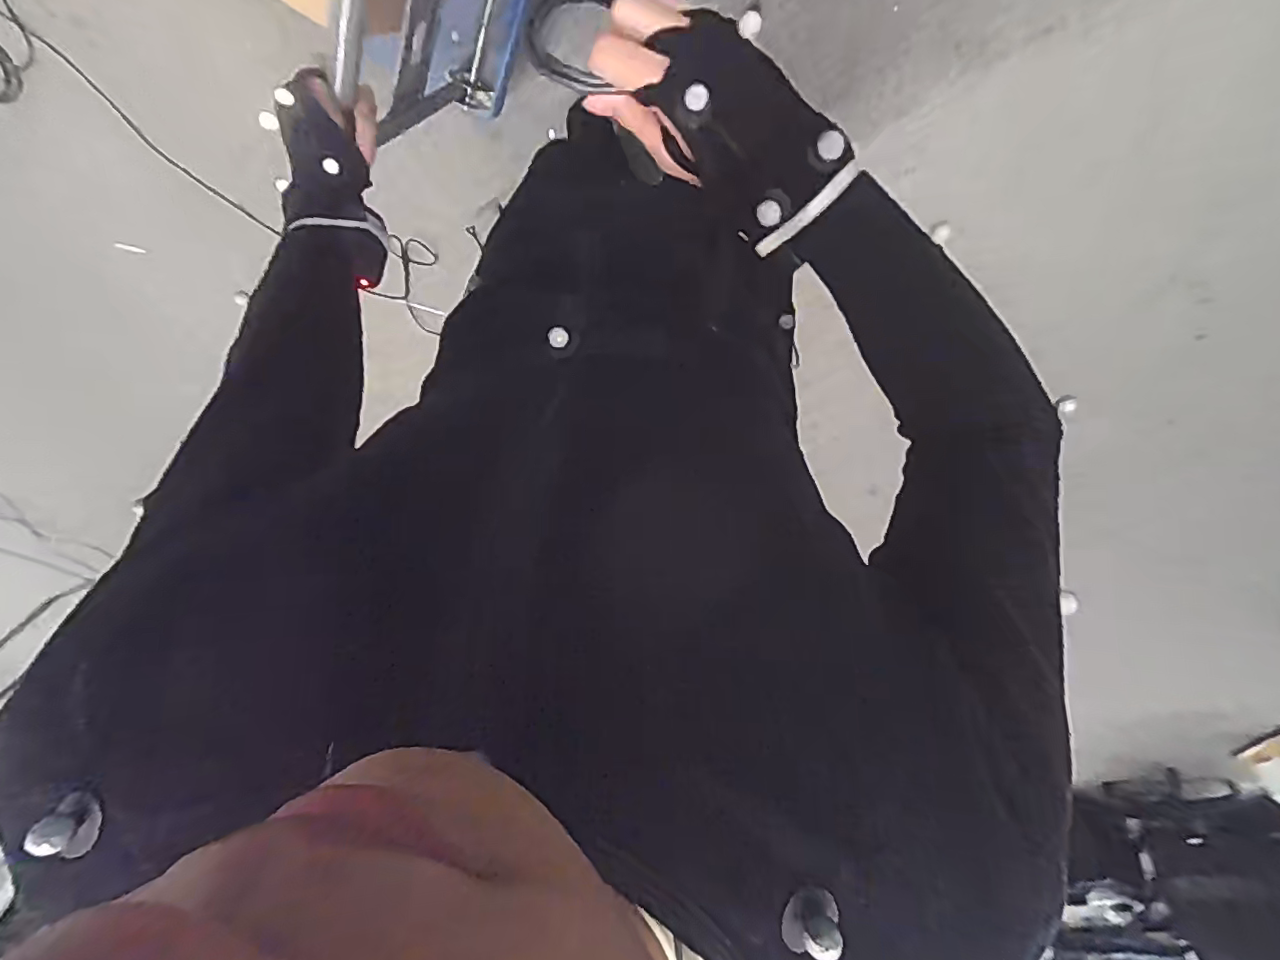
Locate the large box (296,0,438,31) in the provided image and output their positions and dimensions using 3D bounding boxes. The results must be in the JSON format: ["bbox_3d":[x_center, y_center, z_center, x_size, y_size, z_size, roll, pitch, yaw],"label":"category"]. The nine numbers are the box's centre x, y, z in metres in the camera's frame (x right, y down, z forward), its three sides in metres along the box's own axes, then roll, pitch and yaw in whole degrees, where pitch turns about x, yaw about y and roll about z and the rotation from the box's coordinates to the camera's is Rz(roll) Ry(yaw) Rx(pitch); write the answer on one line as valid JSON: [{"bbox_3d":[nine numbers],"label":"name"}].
[{"bbox_3d":[-0.503,-0.936,0.759,0.408,0.320,0.320,27,131,-15],"label":"large box"}]
